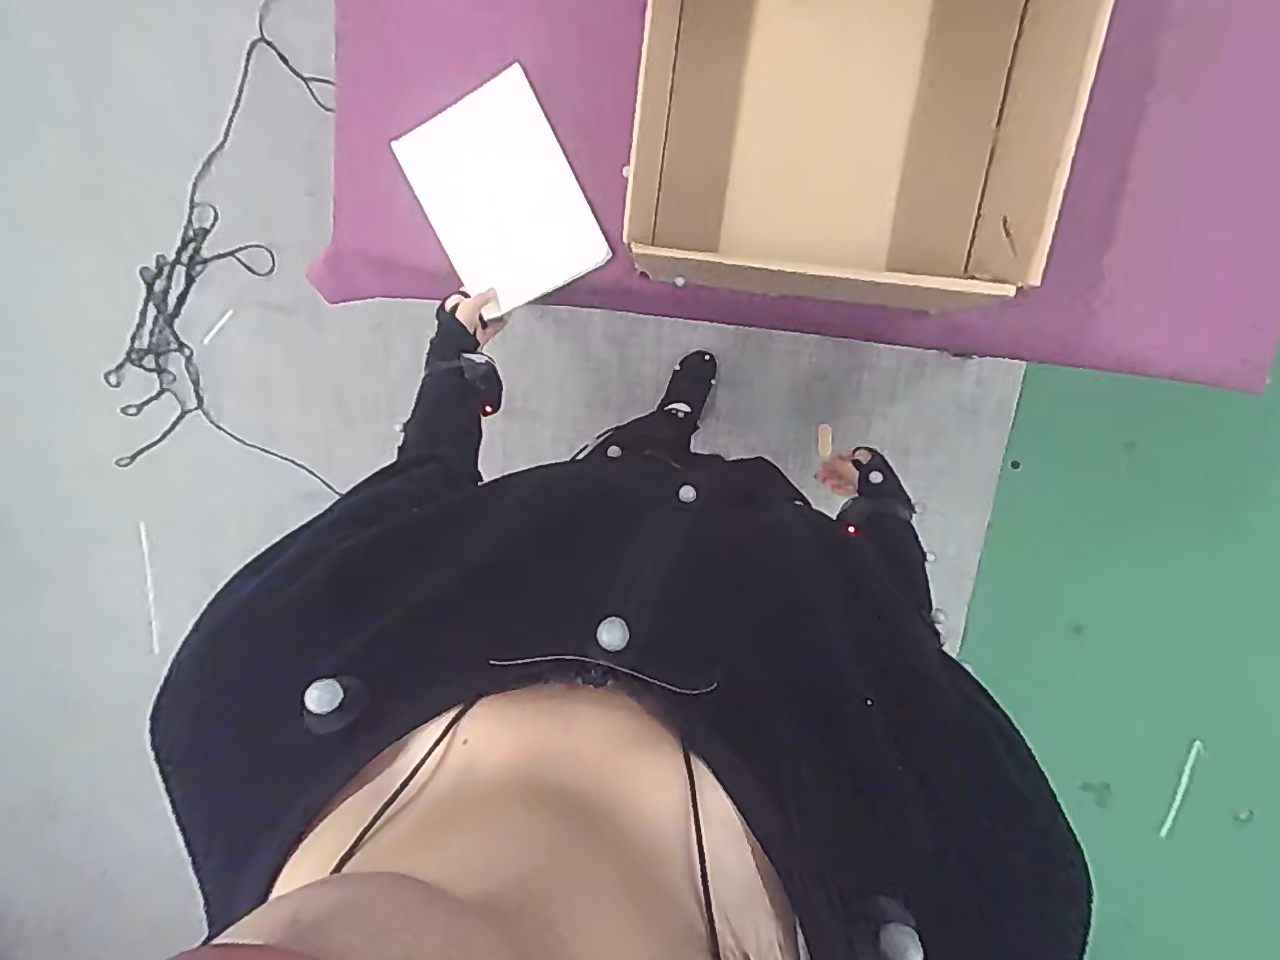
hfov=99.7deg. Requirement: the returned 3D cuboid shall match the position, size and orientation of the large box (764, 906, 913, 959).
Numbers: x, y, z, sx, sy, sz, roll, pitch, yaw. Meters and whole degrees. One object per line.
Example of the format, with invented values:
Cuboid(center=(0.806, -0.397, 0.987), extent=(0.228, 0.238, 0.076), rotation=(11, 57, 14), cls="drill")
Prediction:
Cuboid(center=(0.606, 1.538, 1.600), extent=(0.408, 0.320, 0.320), rotation=(-8, 101, 6), cls="large box")
